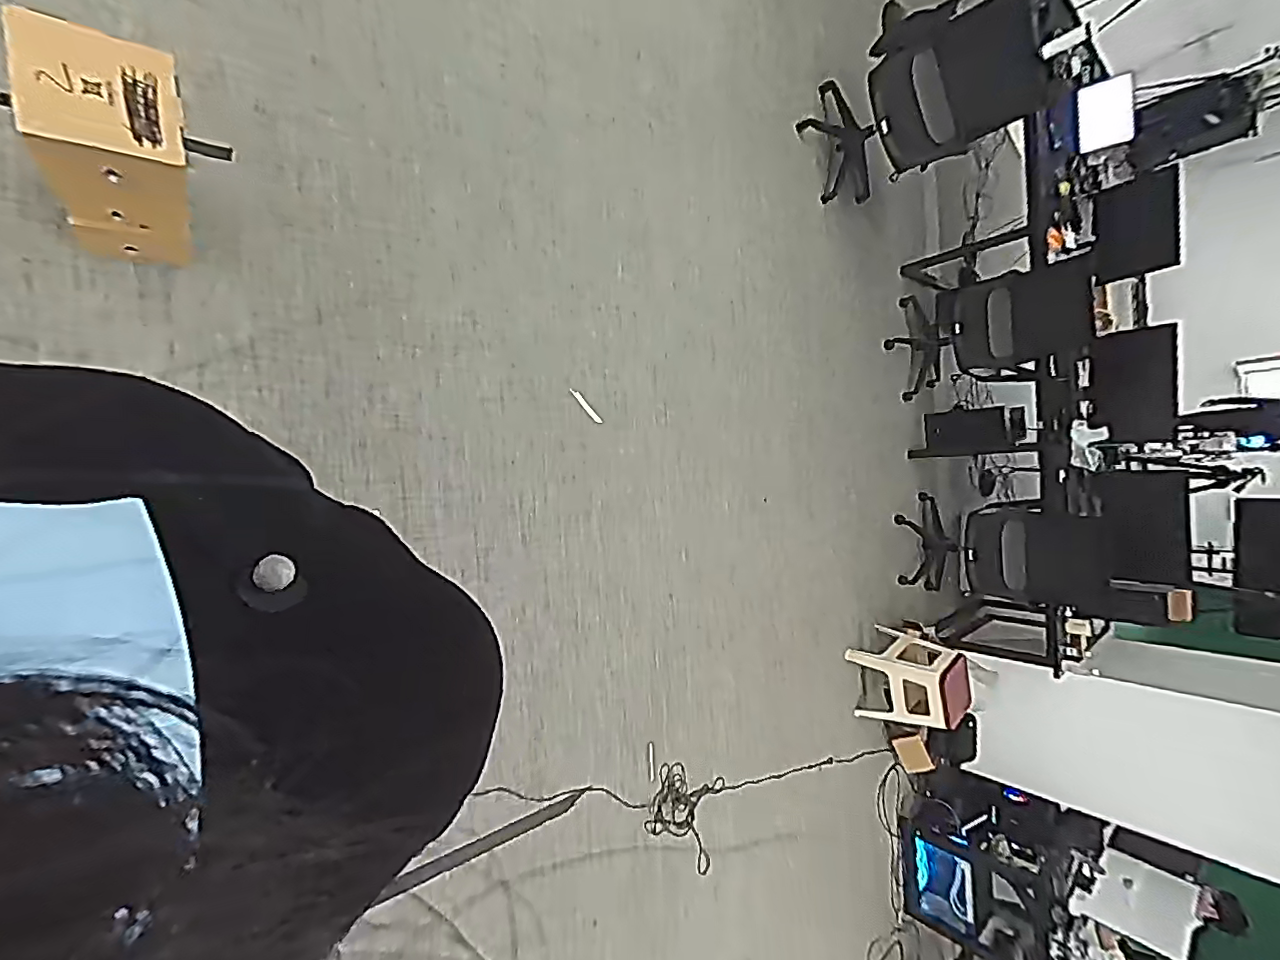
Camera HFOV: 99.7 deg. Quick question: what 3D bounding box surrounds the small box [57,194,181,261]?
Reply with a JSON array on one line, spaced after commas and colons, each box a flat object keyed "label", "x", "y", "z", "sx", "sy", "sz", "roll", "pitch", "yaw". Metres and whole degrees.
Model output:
[{"label": "small box", "x": -1.017, "y": -0.552, "z": 1.062, "sx": 0.168, "sy": 0.176, "sz": 0.179, "roll": -6, "pitch": 92, "yaw": -40}]

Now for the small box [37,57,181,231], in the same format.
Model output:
[{"label": "small box", "x": -0.911, "y": -0.565, "z": 0.939, "sx": 0.168, "sy": 0.176, "sz": 0.179, "roll": -4, "pitch": 92, "yaw": -40}]
